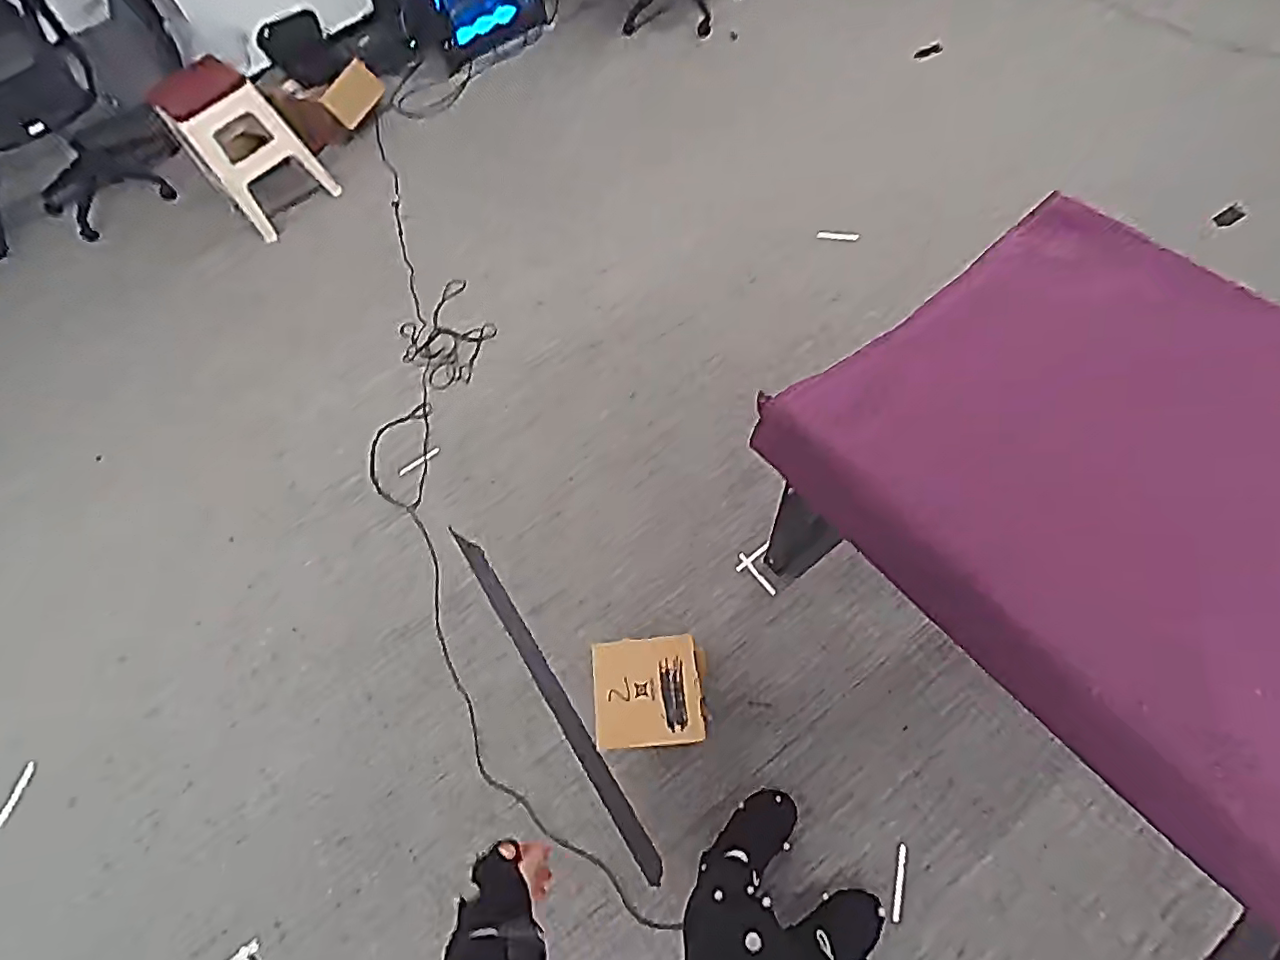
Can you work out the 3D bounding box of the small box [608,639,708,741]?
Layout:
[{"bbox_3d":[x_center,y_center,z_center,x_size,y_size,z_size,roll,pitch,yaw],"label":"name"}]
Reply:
[{"bbox_3d":[0.045,0.430,1.105,0.179,0.176,0.168,4,65,9],"label":"small box"}]
